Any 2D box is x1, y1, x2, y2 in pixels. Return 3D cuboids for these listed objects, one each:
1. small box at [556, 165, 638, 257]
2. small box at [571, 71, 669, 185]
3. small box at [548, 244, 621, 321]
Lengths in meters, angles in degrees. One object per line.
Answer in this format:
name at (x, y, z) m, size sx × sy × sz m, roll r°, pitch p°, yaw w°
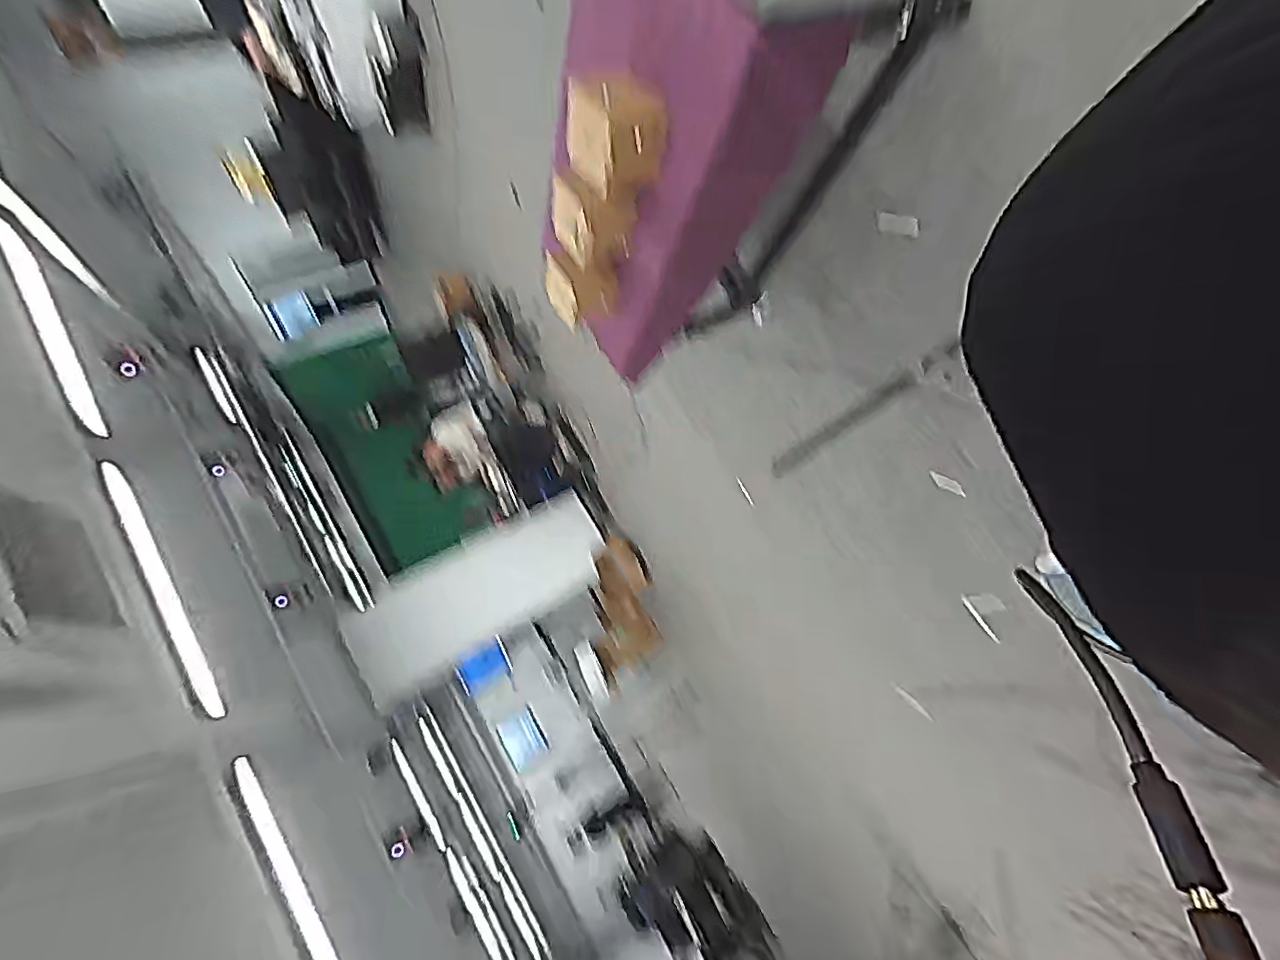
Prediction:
small box at (-0.126, -0.781, 1.550) m, size 0.179 × 0.176 × 0.168 m, roll 55°, pitch 156°, yaw 19°
small box at (-0.050, -0.858, 1.310) m, size 0.179 × 0.176 × 0.168 m, roll 54°, pitch 155°, yaw 21°
small box at (-0.188, -0.668, 1.801) m, size 0.179 × 0.176 × 0.168 m, roll 55°, pitch 156°, yaw 17°
